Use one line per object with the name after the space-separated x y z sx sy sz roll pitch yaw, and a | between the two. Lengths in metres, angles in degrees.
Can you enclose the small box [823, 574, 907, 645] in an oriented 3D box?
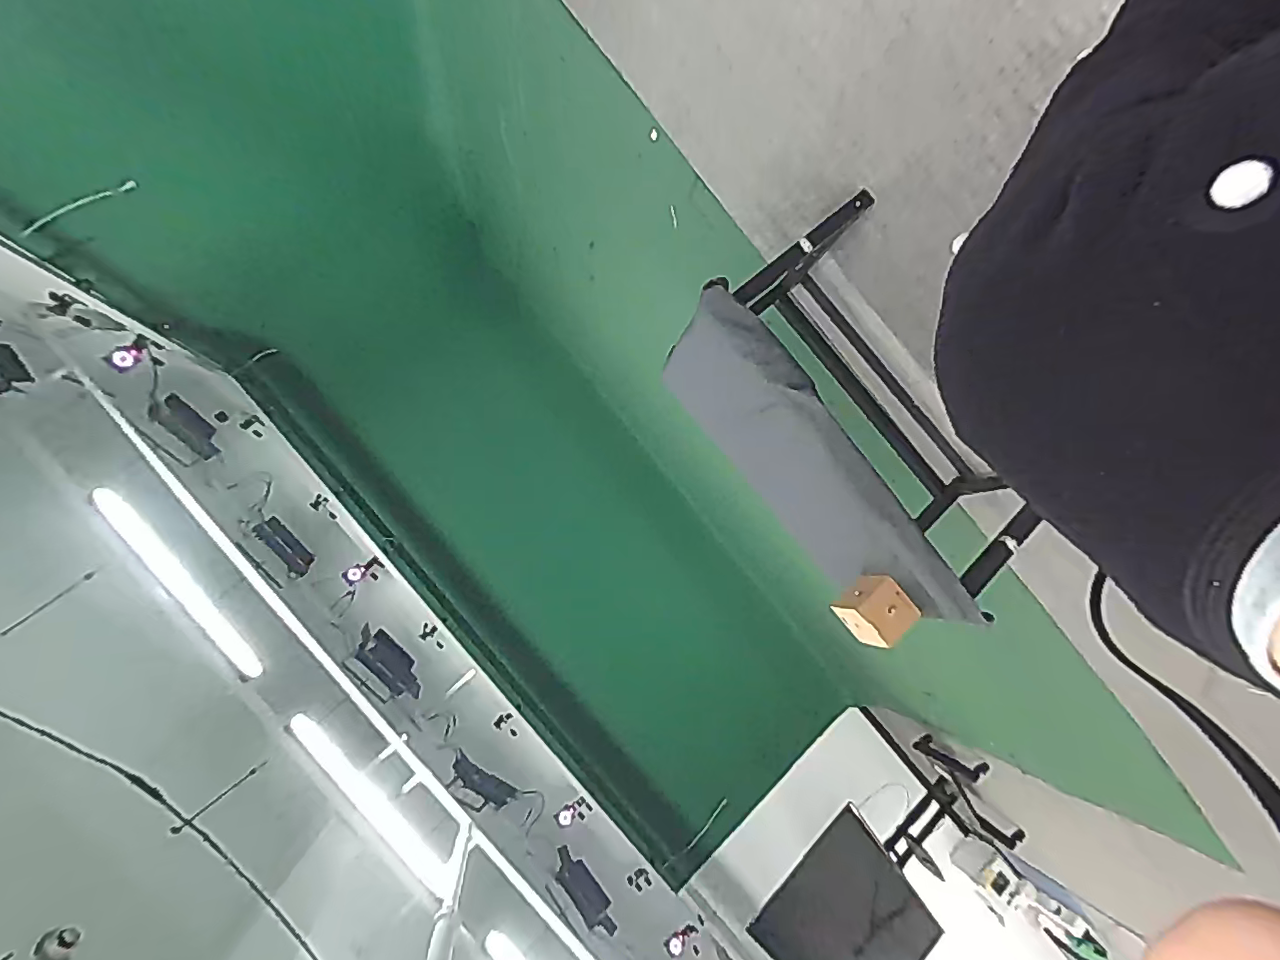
0.772 0.434 1.844 0.168 0.176 0.179 50 165 1 | small box
